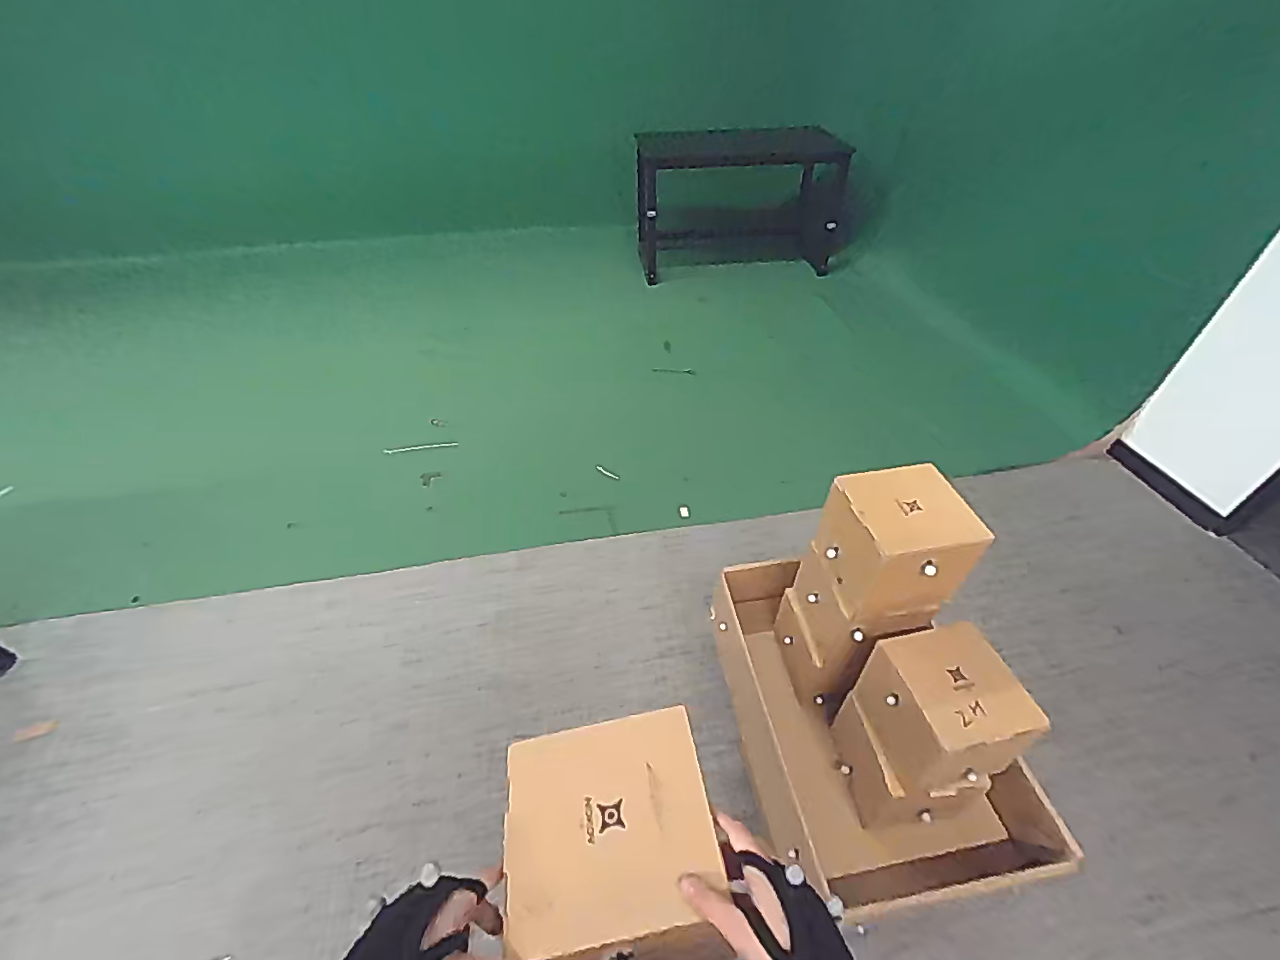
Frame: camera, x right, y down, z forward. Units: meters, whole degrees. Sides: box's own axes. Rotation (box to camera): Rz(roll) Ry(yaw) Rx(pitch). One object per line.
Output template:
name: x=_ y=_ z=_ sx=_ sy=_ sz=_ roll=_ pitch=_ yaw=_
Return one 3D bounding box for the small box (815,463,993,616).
small box: x=0.411 y=0.097 z=0.876 sx=0.179 sy=0.176 sz=0.168 roll=-8 pitch=44 yaw=-7
